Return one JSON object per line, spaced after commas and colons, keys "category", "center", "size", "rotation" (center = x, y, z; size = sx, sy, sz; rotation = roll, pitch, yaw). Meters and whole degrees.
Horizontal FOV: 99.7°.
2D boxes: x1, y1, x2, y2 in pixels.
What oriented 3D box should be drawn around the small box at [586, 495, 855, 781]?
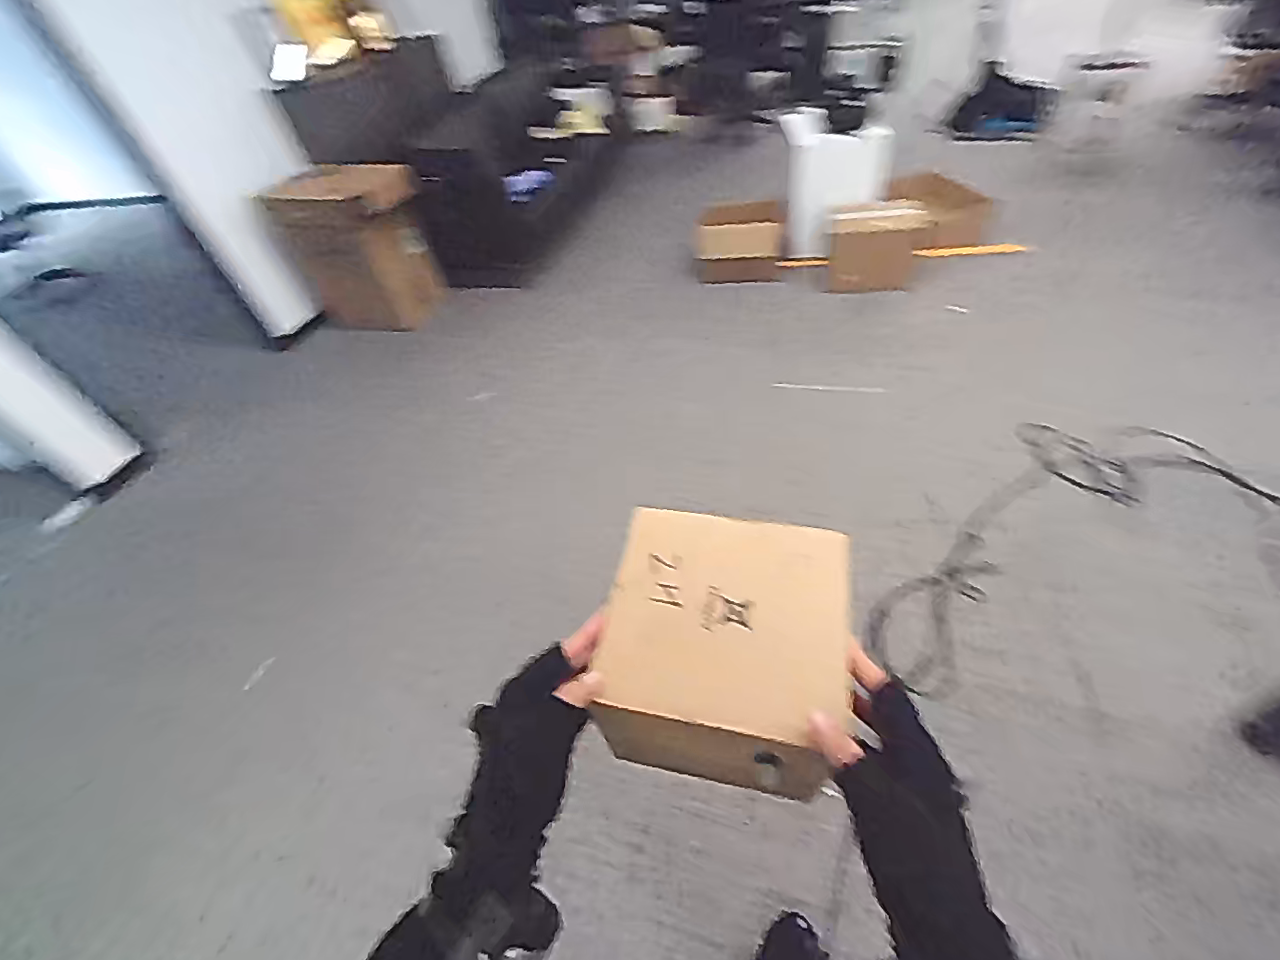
{"category": "small box", "center": [0.073, 0.136, 0.457], "size": [0.179, 0.176, 0.168], "rotation": [6, 52, 13]}
